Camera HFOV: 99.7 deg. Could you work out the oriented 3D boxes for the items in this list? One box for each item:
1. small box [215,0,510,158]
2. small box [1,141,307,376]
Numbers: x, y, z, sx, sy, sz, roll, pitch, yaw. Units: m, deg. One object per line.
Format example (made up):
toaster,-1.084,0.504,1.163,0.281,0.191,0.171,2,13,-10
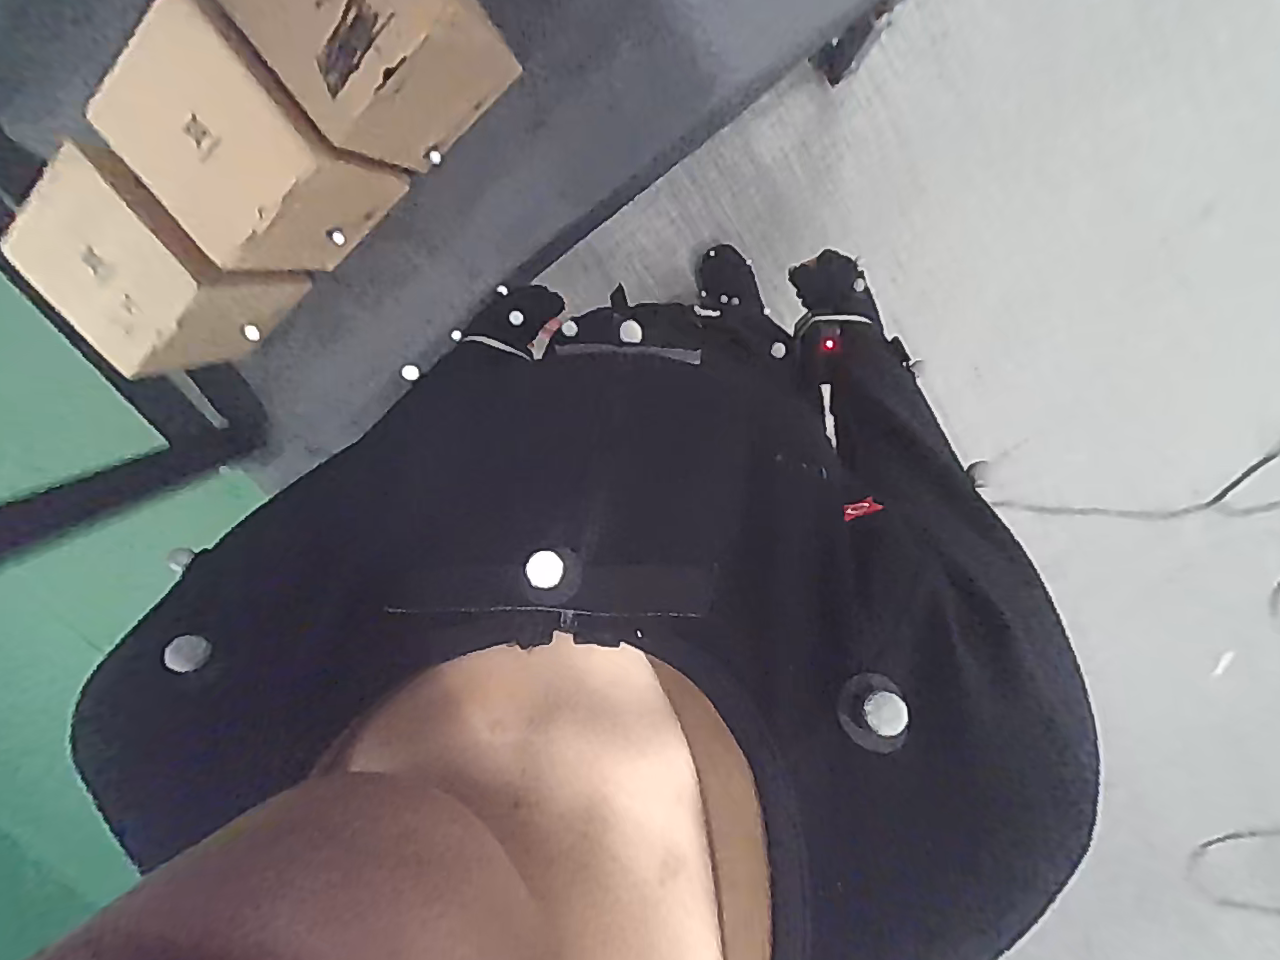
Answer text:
small box,-0.258,-0.444,0.521,0.168,0.176,0.179,-33,103,19
small box,-0.556,-0.252,0.641,0.168,0.176,0.179,-34,103,19
